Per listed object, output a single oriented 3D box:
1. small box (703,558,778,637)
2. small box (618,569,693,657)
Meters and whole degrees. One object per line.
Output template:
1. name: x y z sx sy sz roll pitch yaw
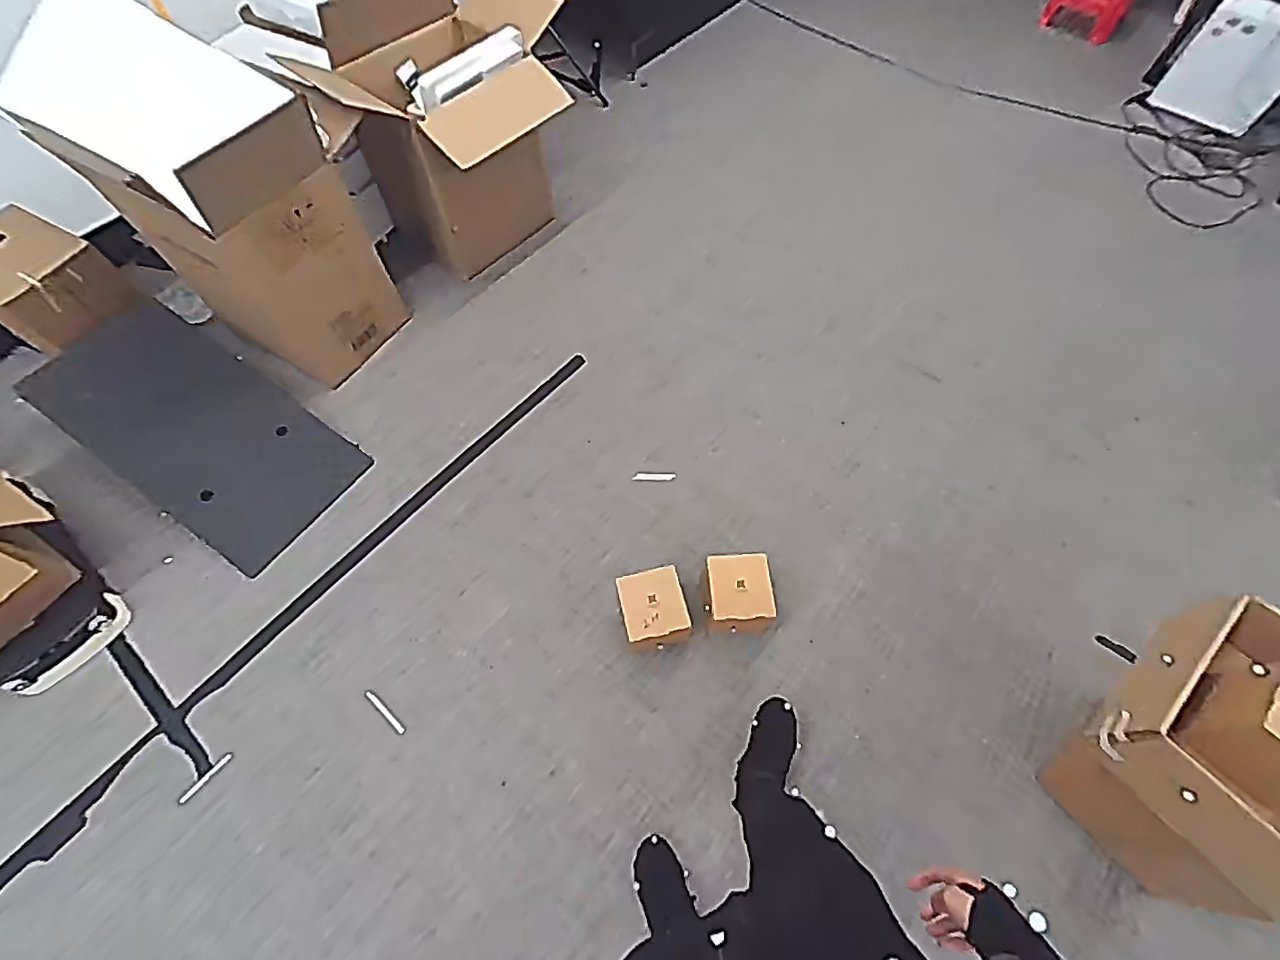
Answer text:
1. small box: 0.271 0.329 1.505 0.168 0.176 0.179 -3 63 -2
2. small box: 0.037 0.367 1.482 0.168 0.176 0.179 -12 63 -6
